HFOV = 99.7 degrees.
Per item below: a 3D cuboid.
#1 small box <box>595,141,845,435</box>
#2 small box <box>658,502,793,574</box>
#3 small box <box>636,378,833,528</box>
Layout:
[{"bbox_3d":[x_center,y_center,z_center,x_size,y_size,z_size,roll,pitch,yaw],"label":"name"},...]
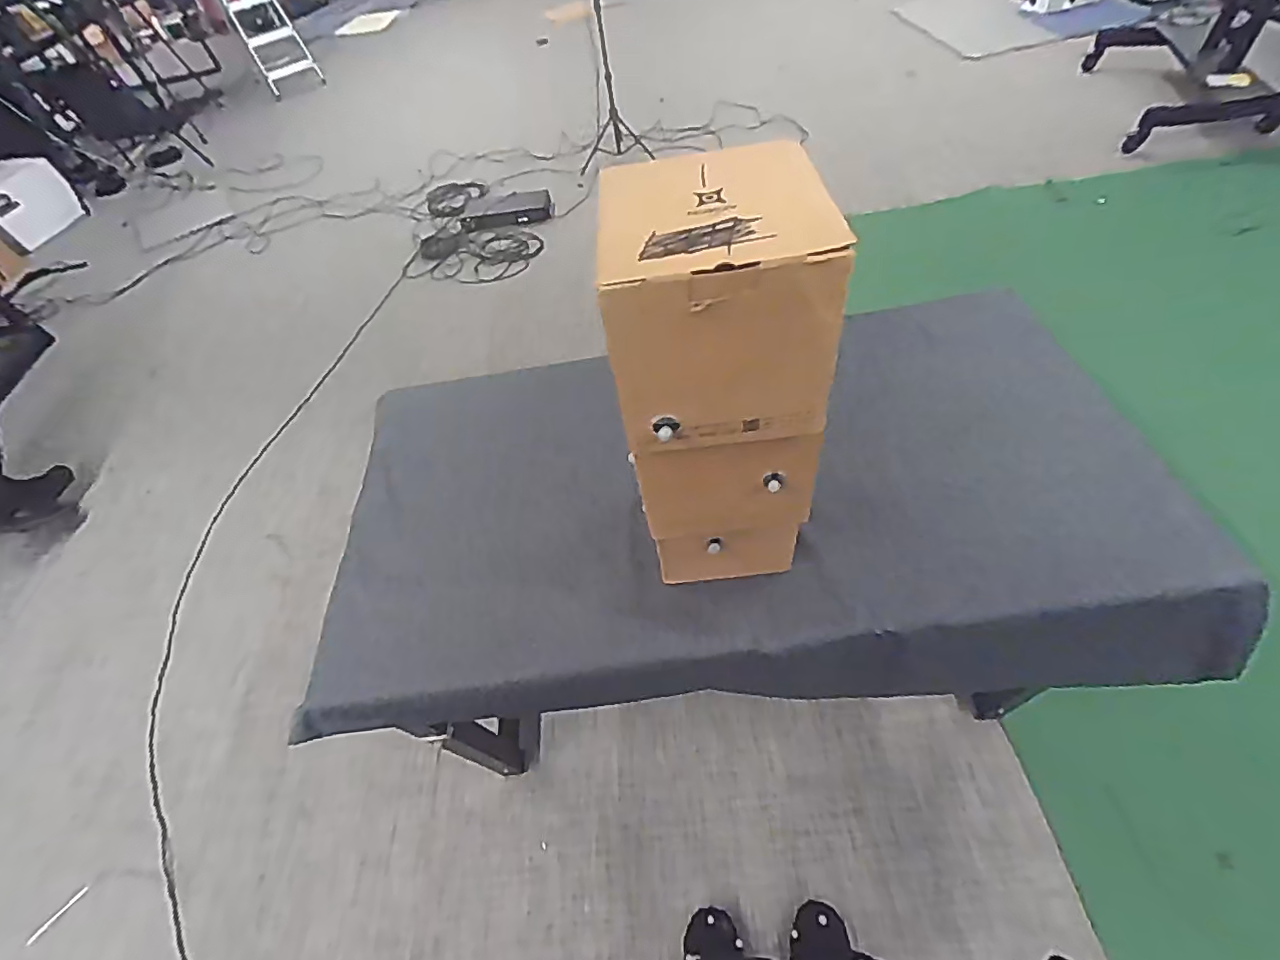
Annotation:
[{"bbox_3d":[0.060,-0.152,0.461,0.168,0.176,0.179,-6,52,4],"label":"small box"},{"bbox_3d":[0.105,0.014,0.743,0.179,0.176,0.168,-9,52,2],"label":"small box"},{"bbox_3d":[0.083,-0.068,0.581,0.179,0.176,0.168,-10,53,2],"label":"small box"}]
